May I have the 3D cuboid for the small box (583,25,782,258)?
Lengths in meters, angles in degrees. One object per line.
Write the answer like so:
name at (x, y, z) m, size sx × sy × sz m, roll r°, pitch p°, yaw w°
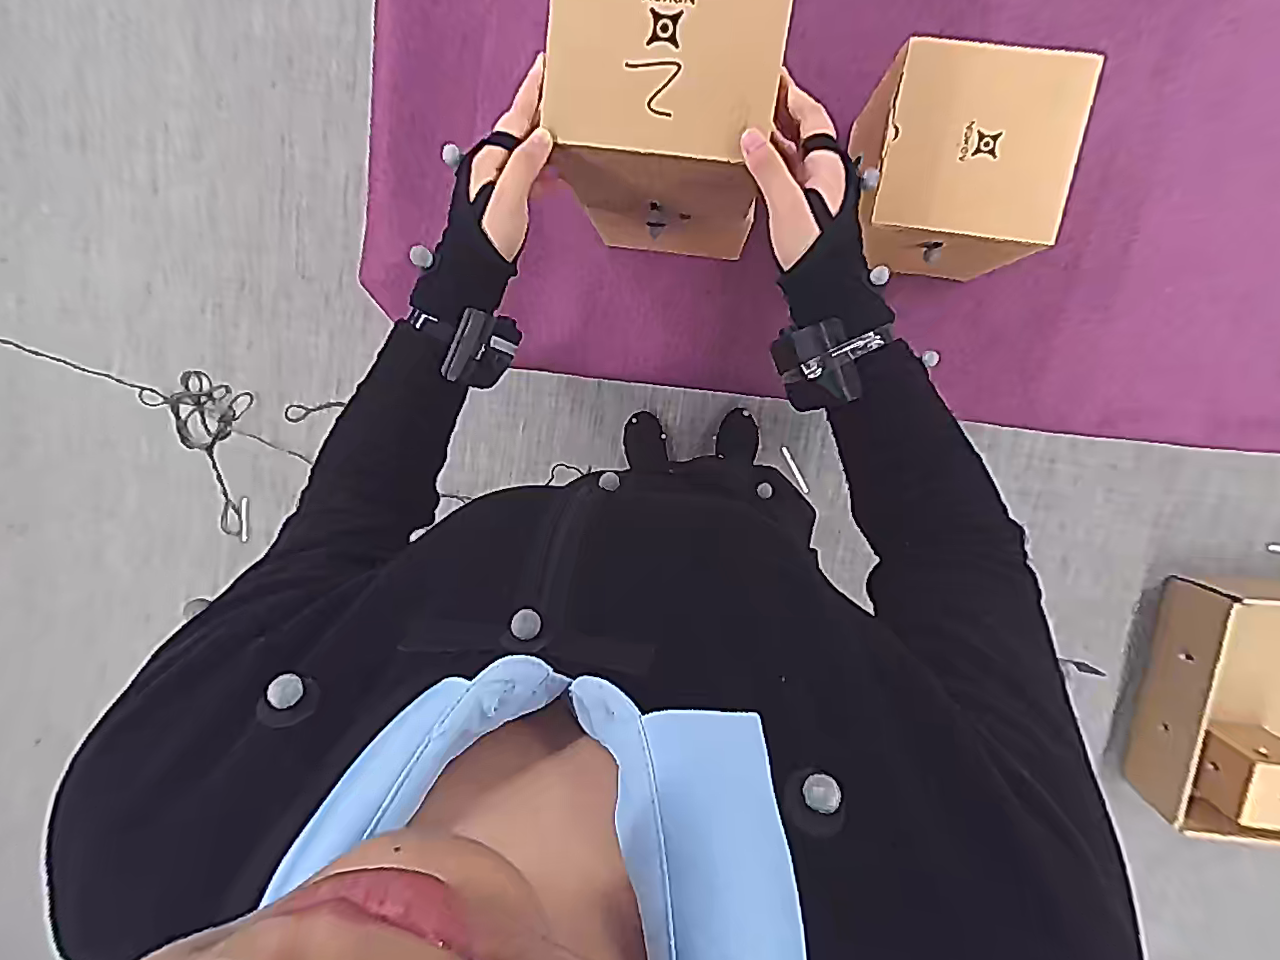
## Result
small box at (0.045, -0.360, 0.607) m, size 0.179 × 0.176 × 0.168 m, roll 8°, pitch 101°, yaw 3°

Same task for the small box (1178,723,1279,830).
small box at (1.506, 0.730, 1.339) m, size 0.179 × 0.176 × 0.168 m, roll 5°, pitch 100°, yaw 4°

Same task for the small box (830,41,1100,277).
small box at (0.328, -0.327, 0.588) m, size 0.179 × 0.176 × 0.168 m, roll 9°, pitch 100°, yaw 4°
